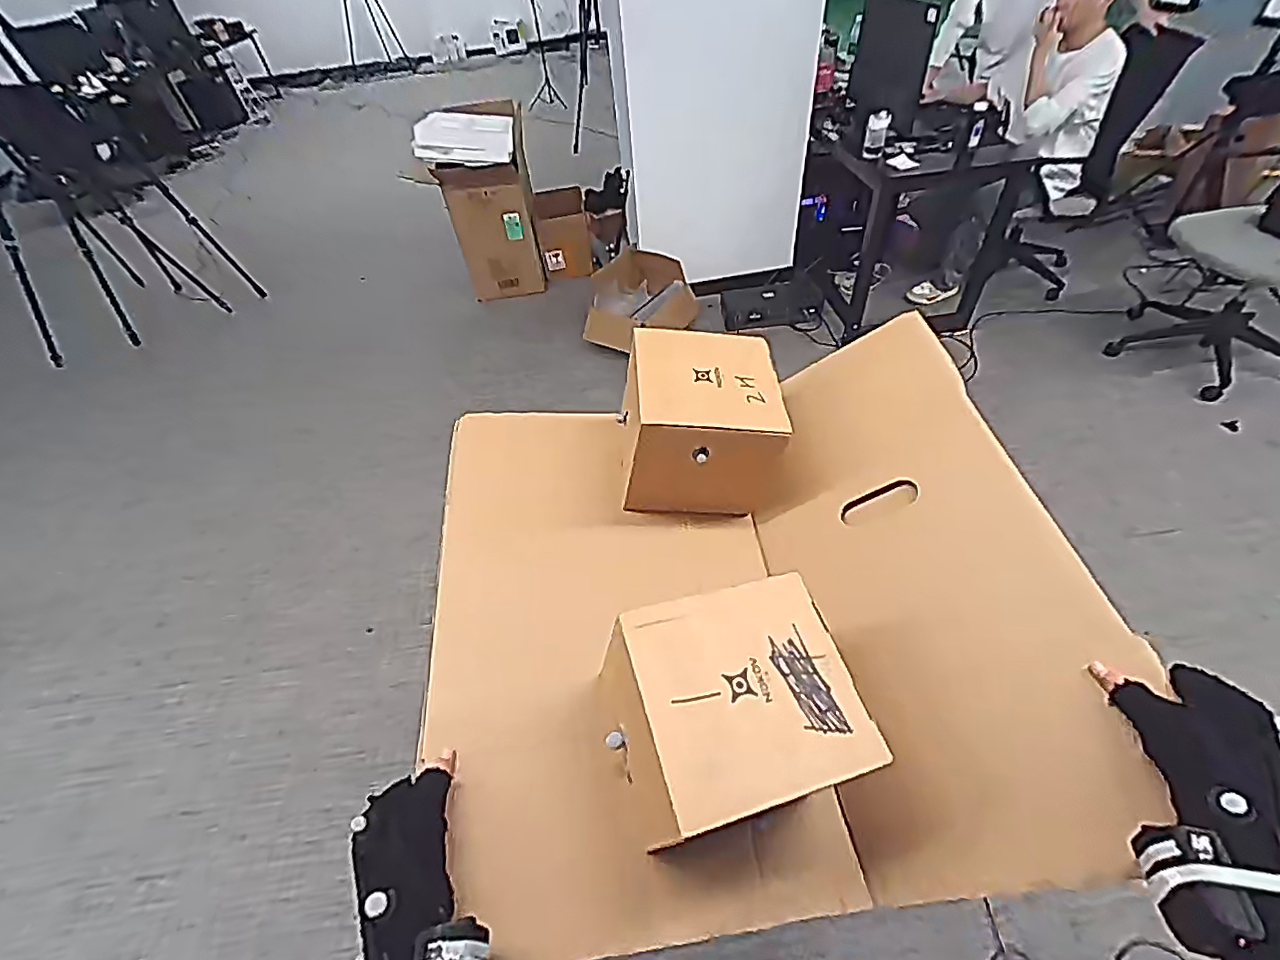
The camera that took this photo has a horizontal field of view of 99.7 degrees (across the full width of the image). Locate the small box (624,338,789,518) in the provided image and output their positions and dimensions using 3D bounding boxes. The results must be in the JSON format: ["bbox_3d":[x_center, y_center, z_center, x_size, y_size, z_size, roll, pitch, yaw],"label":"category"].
[{"bbox_3d":[0.071,-0.063,0.712,0.179,0.176,0.168,4,53,-8],"label":"small box"}]

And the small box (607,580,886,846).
[{"bbox_3d":[0.077,0.216,0.500,0.179,0.176,0.168,-9,55,-16],"label":"small box"}]
